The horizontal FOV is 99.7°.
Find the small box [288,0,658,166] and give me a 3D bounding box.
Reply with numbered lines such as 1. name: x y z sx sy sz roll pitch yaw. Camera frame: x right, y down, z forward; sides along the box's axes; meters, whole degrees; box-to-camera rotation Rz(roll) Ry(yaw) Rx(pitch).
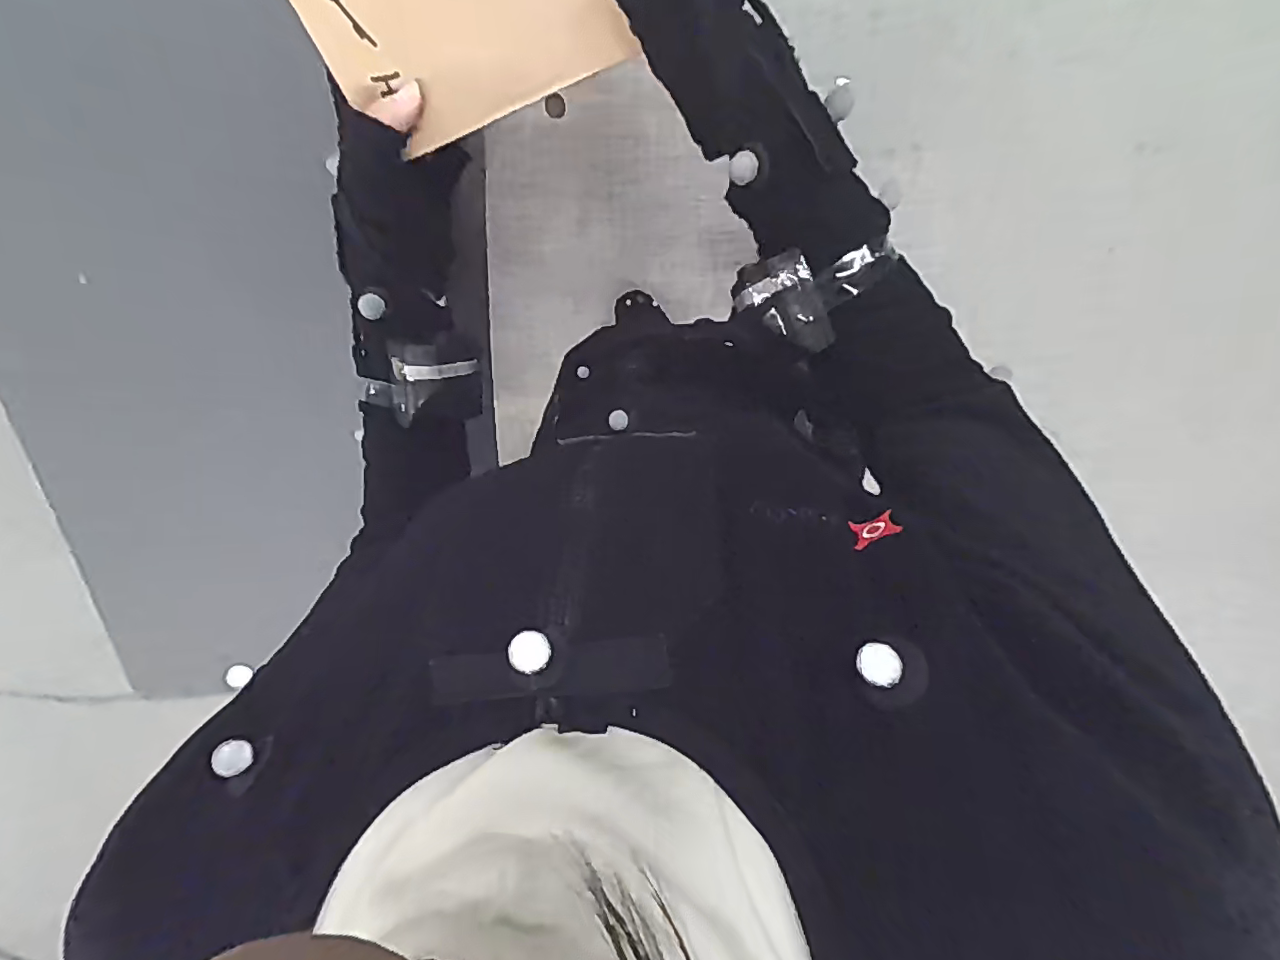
1. small box: -0.096 -0.315 0.316 0.179 0.176 0.168 -14 127 12
